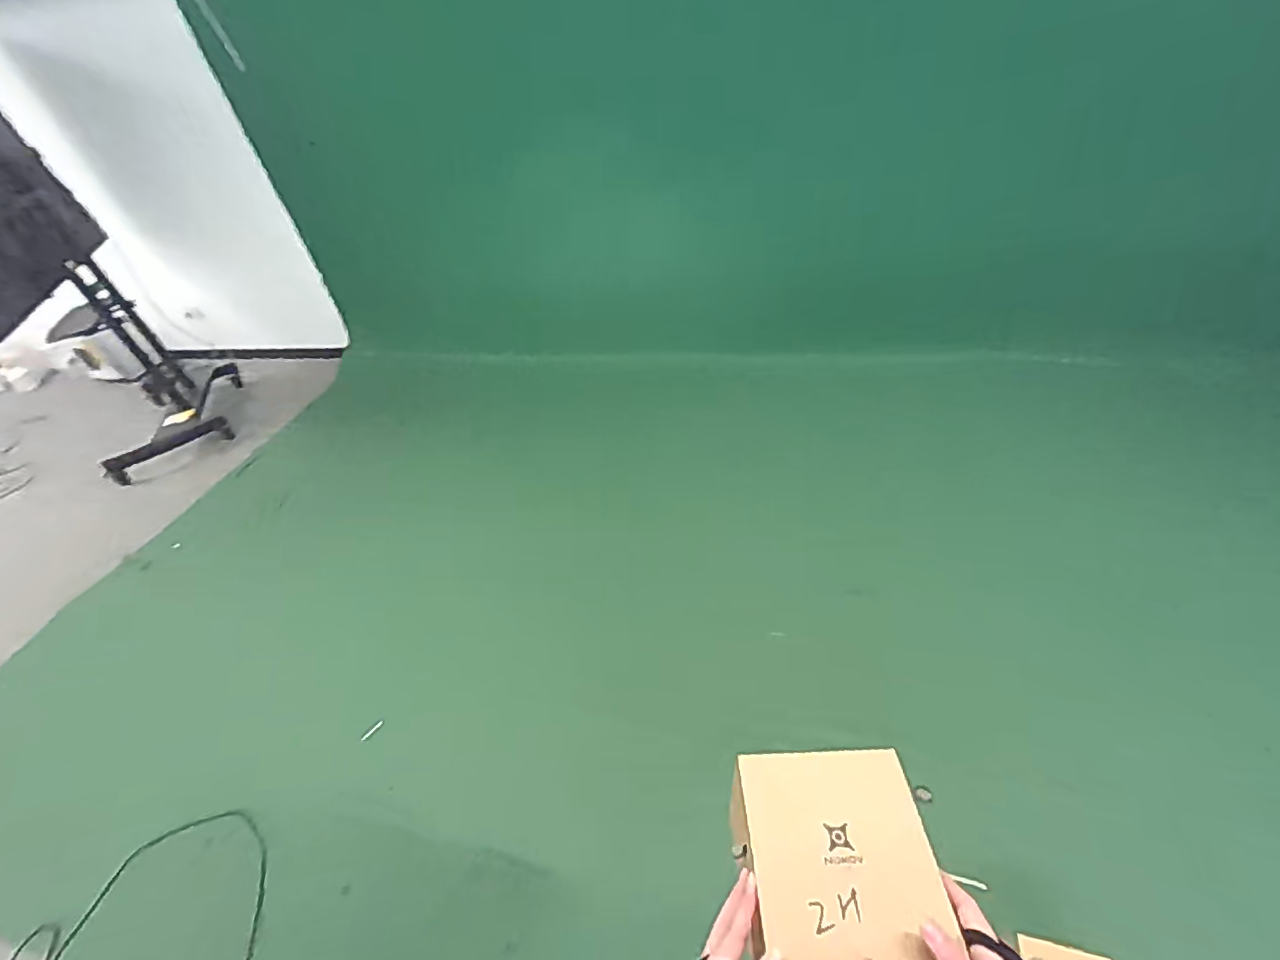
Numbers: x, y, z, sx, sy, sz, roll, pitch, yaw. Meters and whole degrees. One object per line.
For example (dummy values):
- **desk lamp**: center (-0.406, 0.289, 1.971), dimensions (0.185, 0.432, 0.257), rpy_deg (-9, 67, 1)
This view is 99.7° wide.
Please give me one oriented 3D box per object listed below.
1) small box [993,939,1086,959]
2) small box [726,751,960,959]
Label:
- **small box**: center (0.816, 1.047, 1.056), dimensions (0.168, 0.176, 0.179), rpy_deg (6, 44, 16)
- **small box**: center (0.183, 0.403, 0.553), dimensions (0.168, 0.176, 0.179), rpy_deg (-3, 41, 2)
